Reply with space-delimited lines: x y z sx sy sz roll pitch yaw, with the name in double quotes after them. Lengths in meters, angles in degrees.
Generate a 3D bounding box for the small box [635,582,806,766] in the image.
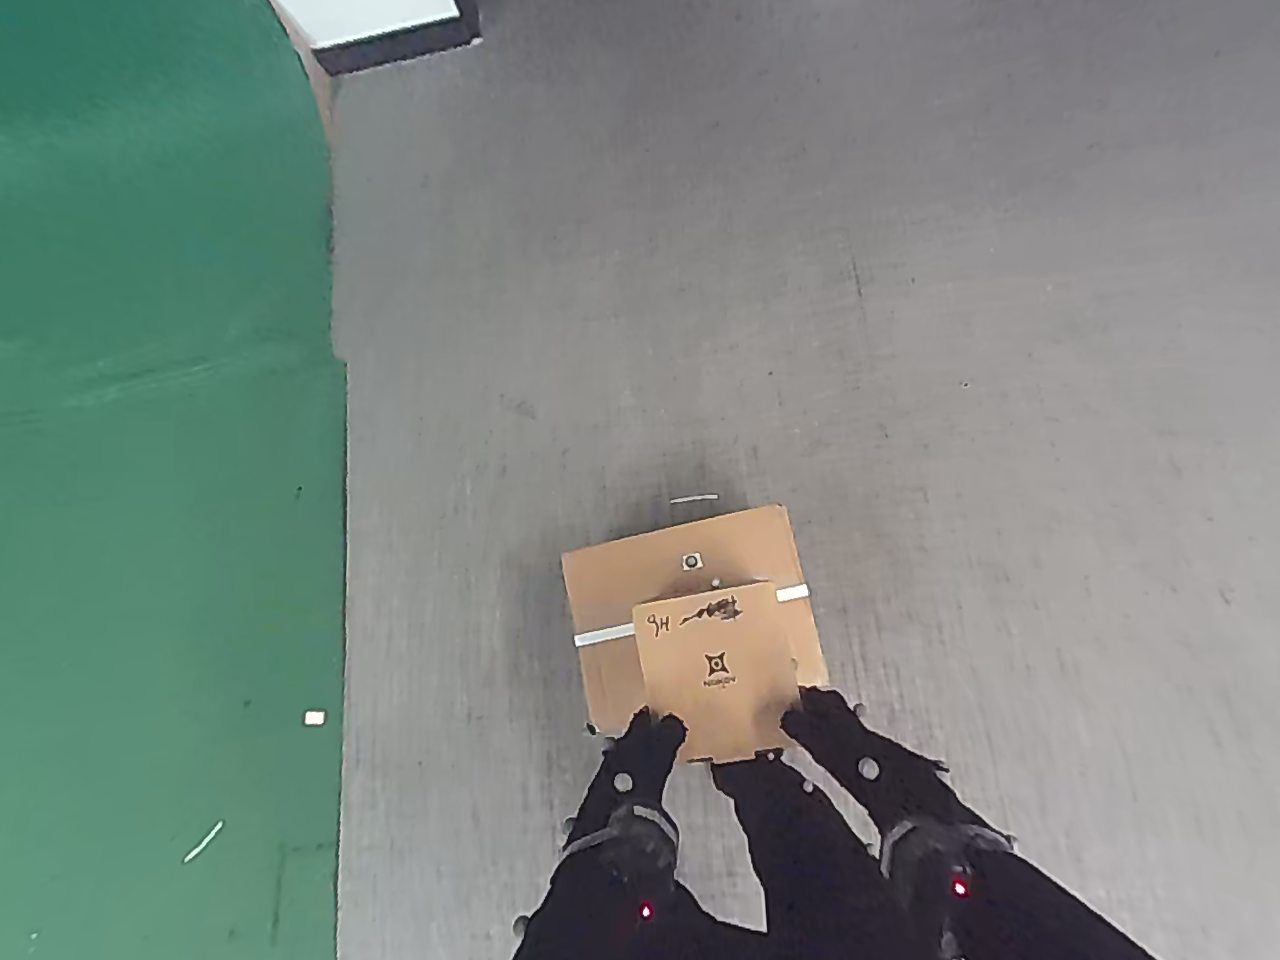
0.098 0.230 0.681 0.168 0.176 0.179 -11 79 5 "small box"
